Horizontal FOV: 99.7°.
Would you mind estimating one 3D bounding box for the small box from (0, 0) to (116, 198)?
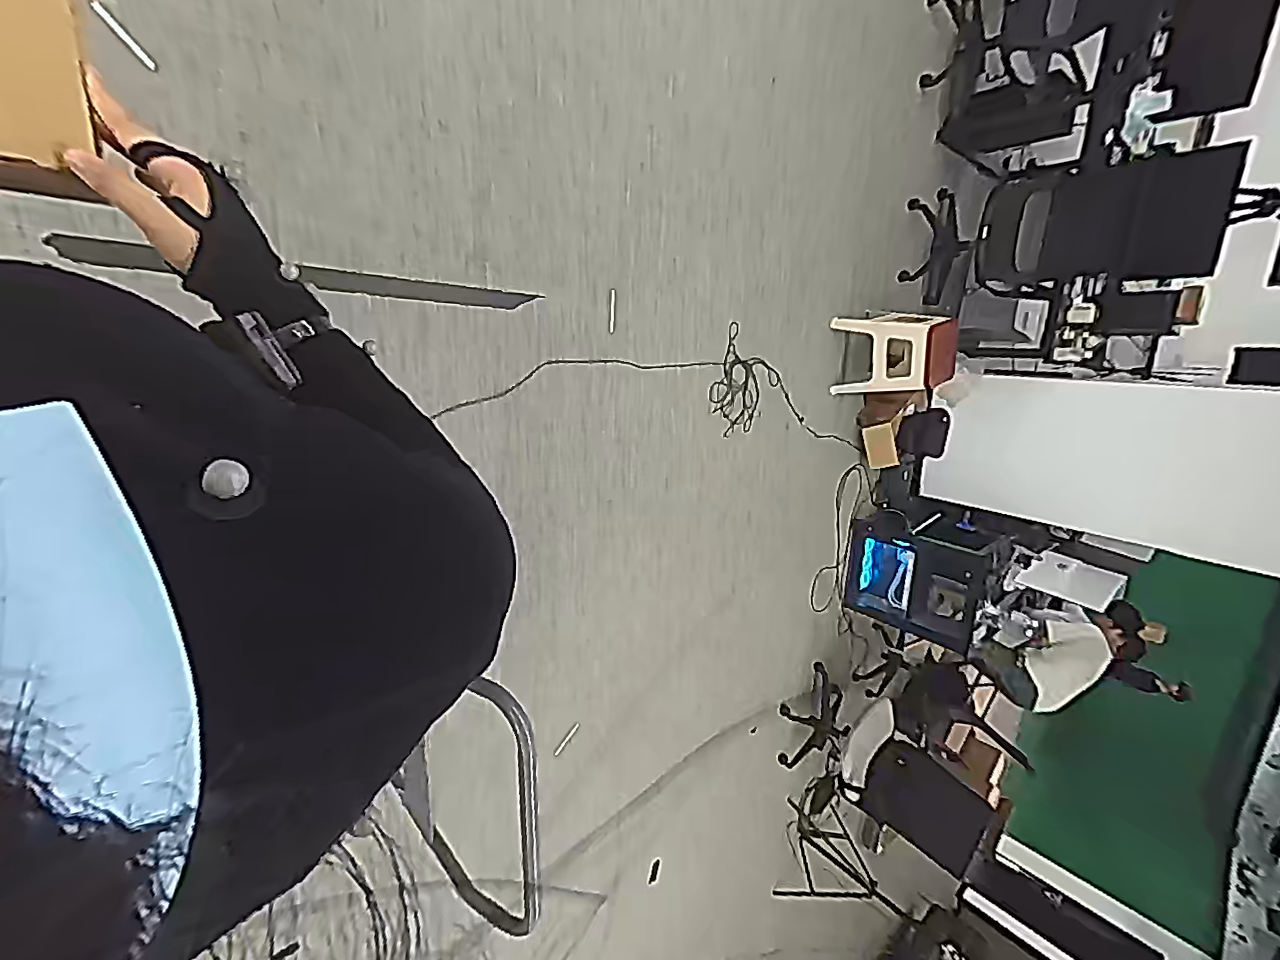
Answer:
[{"bbox_3d":[-0.464,-0.301,0.347,0.168,0.176,0.179,-8,111,-40],"label":"small box"}]
